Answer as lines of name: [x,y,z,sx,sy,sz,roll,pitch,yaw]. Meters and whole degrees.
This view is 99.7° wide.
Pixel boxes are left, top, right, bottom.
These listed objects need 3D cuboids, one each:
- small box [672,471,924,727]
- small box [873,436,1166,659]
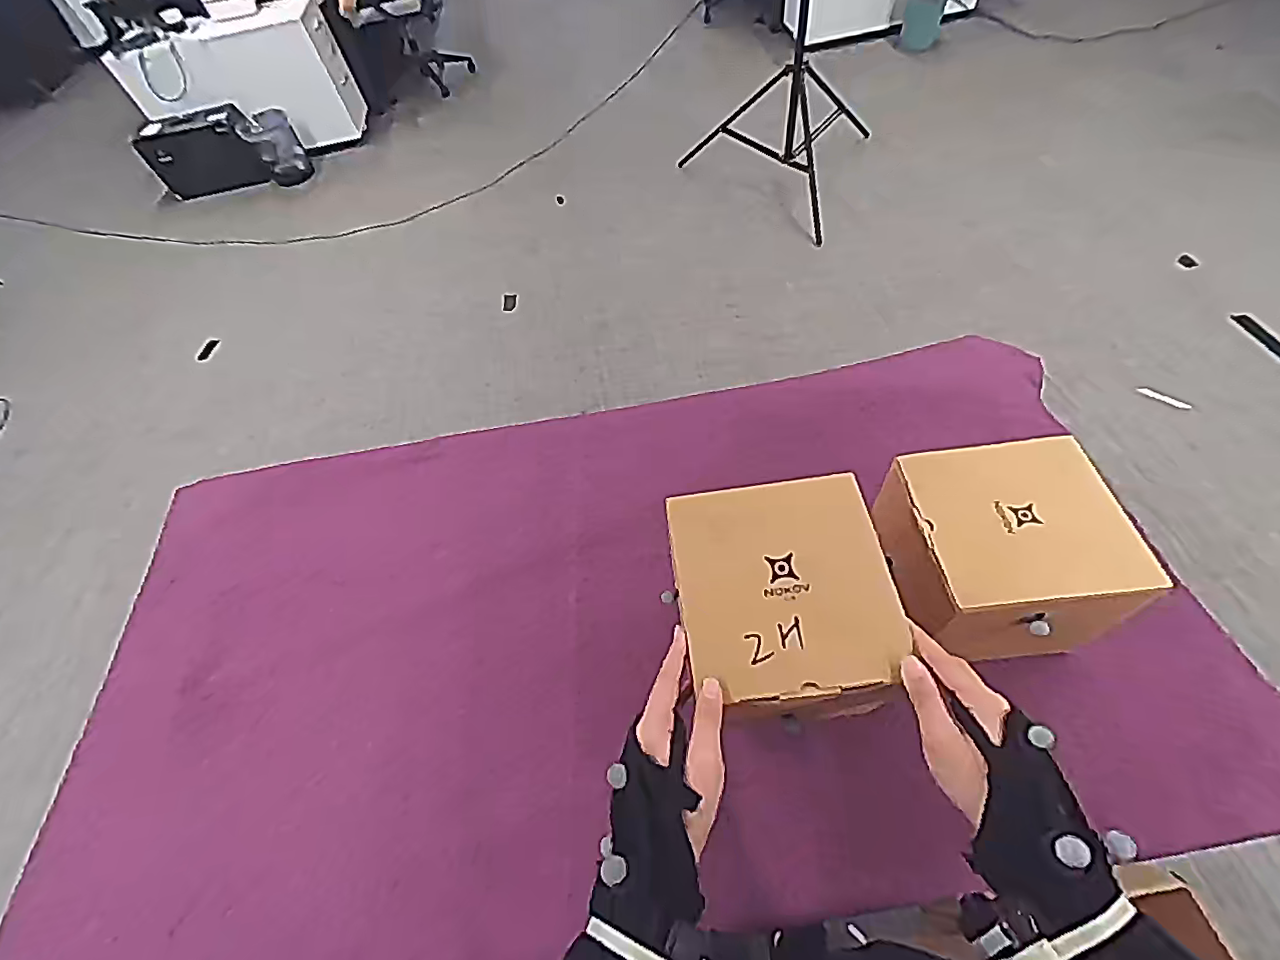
small box: [0.122,0.116,0.499,0.168,0.176,0.179,-8,59,2]
small box: [0.357,0.077,0.562,0.179,0.176,0.168,-7,55,4]
